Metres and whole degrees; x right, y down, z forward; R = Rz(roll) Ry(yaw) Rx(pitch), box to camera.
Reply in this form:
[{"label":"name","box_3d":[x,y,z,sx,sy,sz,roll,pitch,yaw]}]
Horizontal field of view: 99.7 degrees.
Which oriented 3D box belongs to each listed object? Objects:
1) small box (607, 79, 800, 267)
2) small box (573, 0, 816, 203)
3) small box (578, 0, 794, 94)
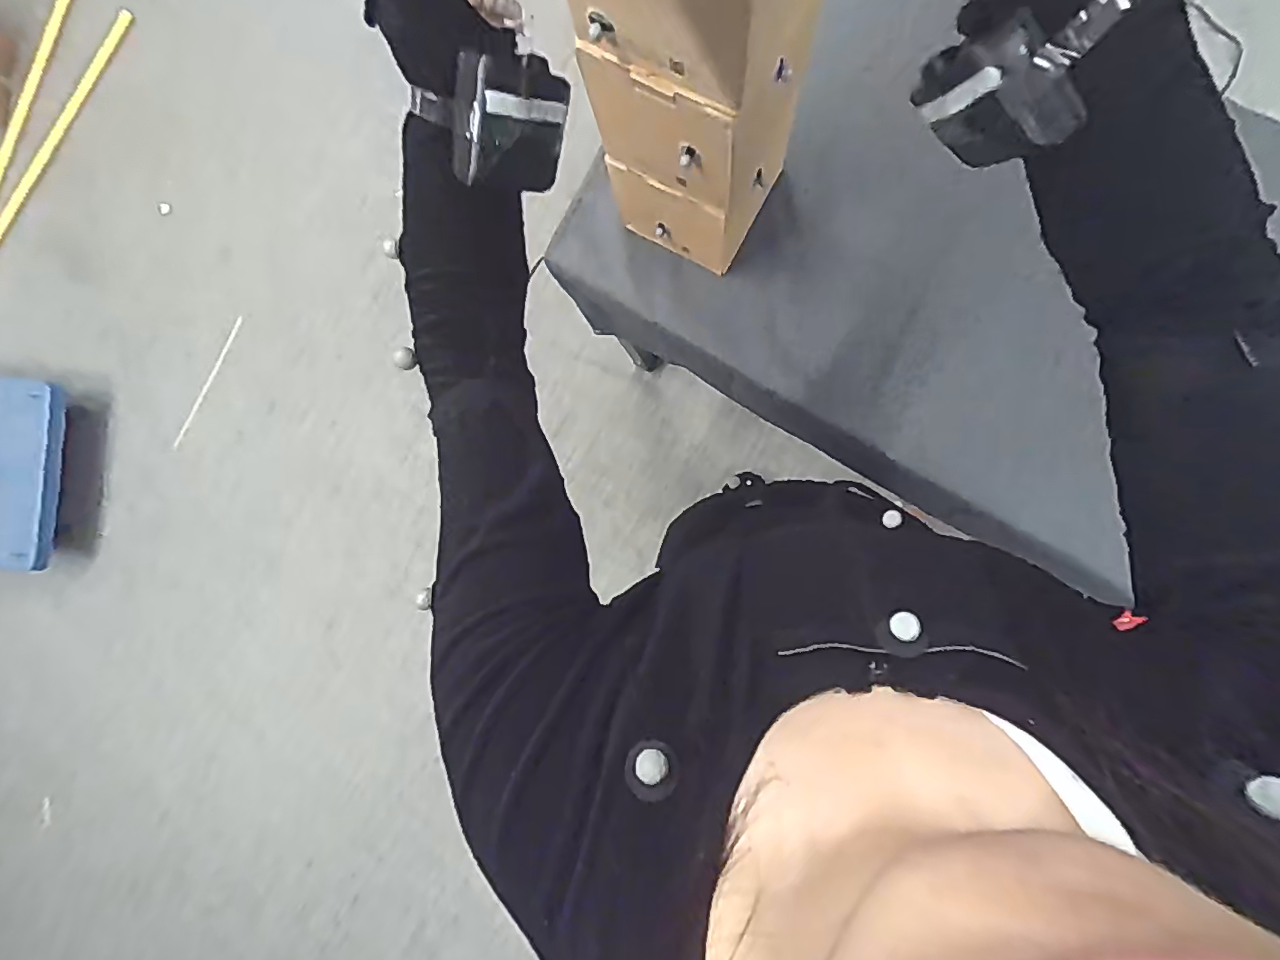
[{"label":"small box","box_3d":[0.080,-0.415,0.700,0.168,0.176,0.179,30,94,7]},{"label":"small box","box_3d":[0.062,-0.418,0.538,0.168,0.176,0.179,30,93,6]},{"label":"small box","box_3d":[0.044,-0.425,0.375,0.168,0.176,0.179,29,93,5]}]
